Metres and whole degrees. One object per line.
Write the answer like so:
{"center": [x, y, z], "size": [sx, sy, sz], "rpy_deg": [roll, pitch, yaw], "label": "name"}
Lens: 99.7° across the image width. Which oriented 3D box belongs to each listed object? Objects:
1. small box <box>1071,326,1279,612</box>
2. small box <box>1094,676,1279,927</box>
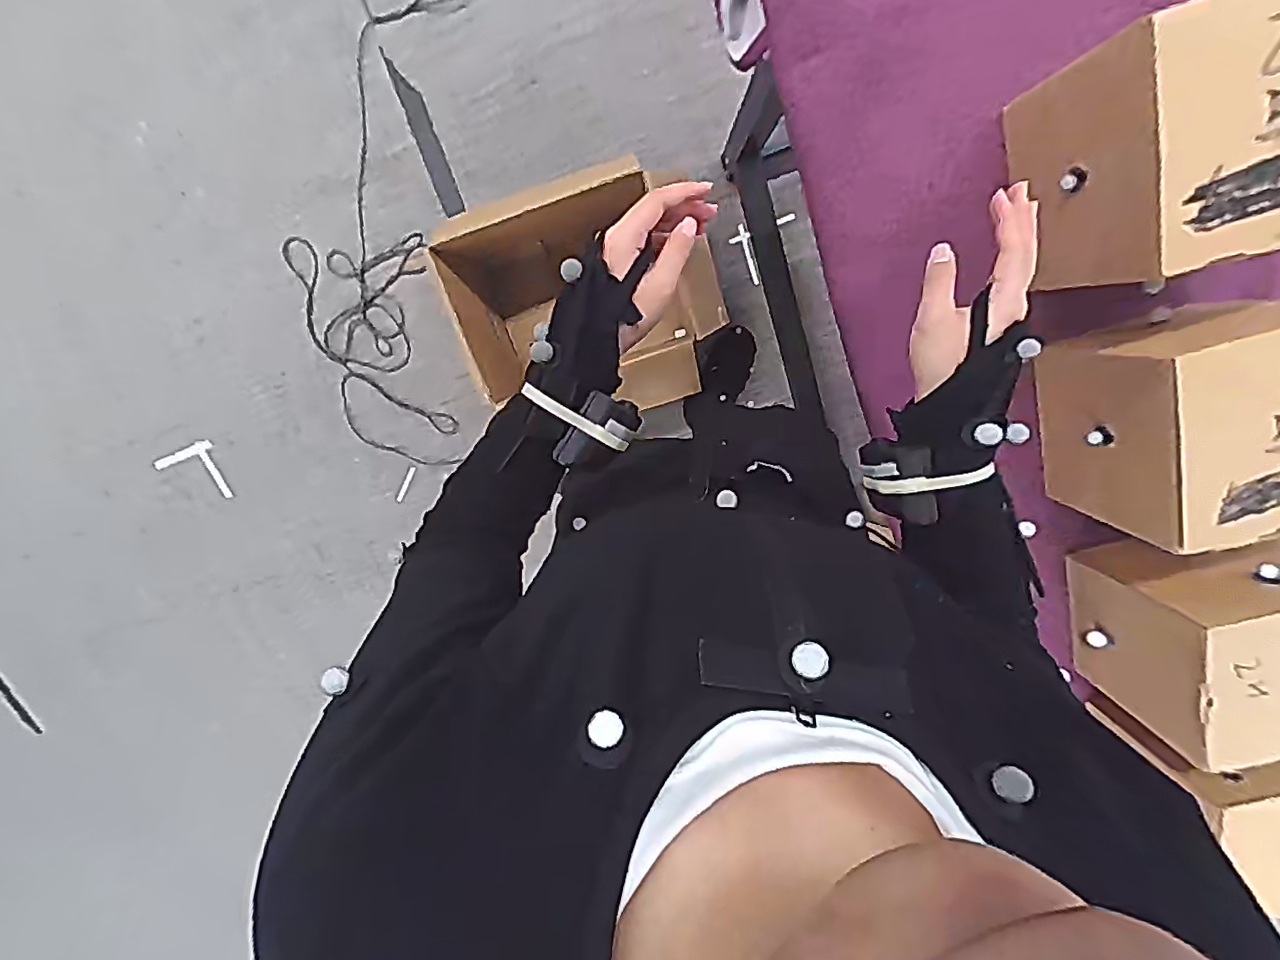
{"center": [0.540, -0.005, 0.507], "size": [0.179, 0.176, 0.168], "rpy_deg": [53, 141, -7], "label": "small box"}
{"center": [0.673, 0.351, 0.617], "size": [0.179, 0.176, 0.168], "rpy_deg": [-15, 105, 5], "label": "small box"}
